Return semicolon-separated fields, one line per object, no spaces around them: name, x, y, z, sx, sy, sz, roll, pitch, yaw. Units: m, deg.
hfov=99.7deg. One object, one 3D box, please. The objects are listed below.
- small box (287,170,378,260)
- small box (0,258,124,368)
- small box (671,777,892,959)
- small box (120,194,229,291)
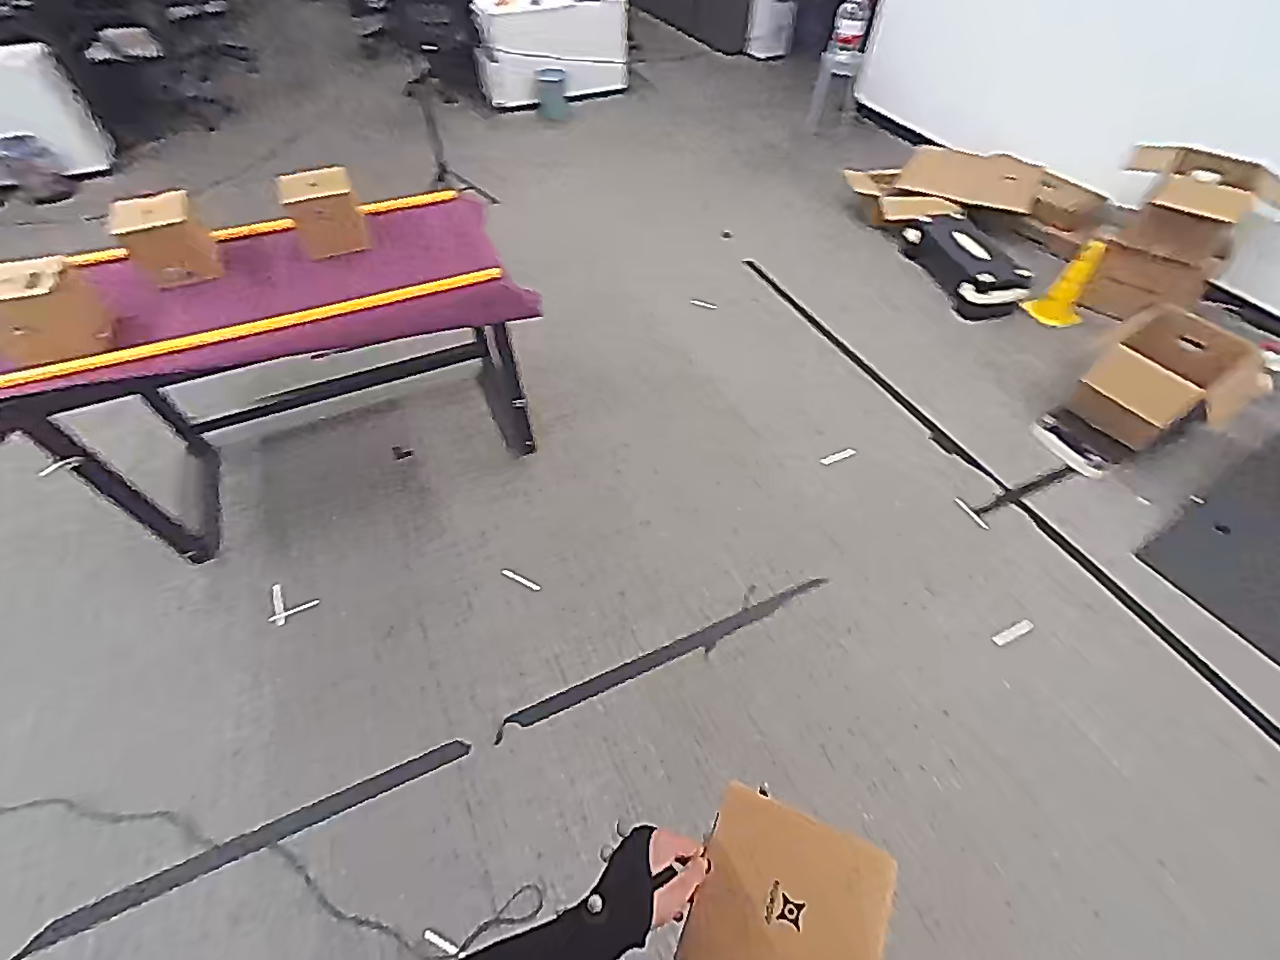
small box;-0.893;-0.768;1.576;0.179;0.176;0.168;-19;56;-15
small box;-1.388;-0.393;1.278;0.179;0.176;0.168;-16;54;-13
small box;0.153;0.443;0.590;0.179;0.176;0.168;14;65;20
small box;-1.264;-0.649;1.481;0.168;0.176;0.179;-22;57;-16
